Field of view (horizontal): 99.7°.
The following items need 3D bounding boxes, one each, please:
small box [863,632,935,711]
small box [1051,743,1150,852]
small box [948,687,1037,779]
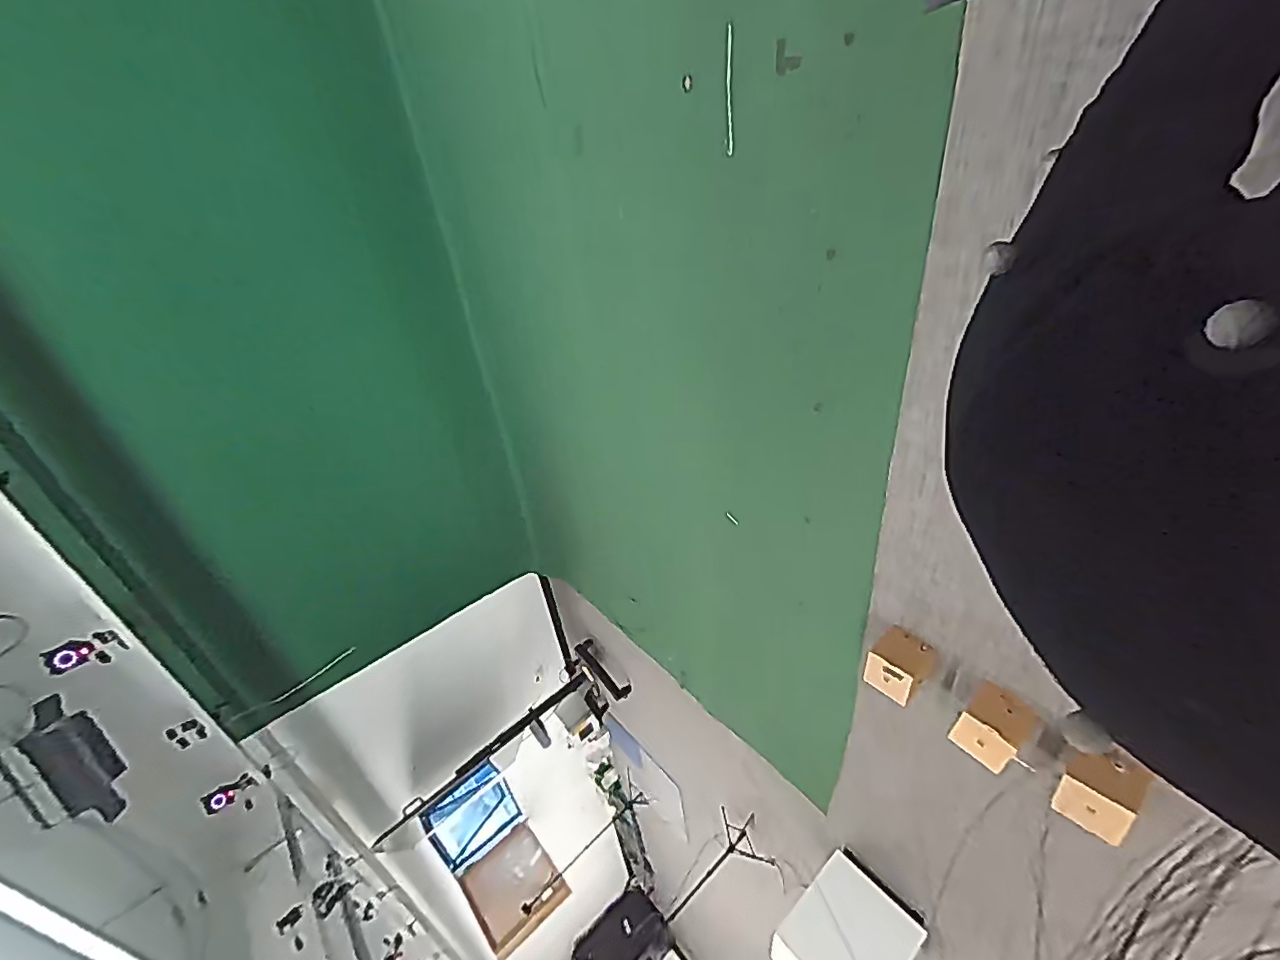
[{"bbox_3d":[0.947,0.693,1.974,0.168,0.176,0.179,30,139,42],"label":"small box"},{"bbox_3d":[1.336,0.913,1.568,0.168,0.176,0.179,24,132,44],"label":"small box"},{"bbox_3d":[1.154,0.822,1.769,0.168,0.176,0.179,34,140,38],"label":"small box"}]
